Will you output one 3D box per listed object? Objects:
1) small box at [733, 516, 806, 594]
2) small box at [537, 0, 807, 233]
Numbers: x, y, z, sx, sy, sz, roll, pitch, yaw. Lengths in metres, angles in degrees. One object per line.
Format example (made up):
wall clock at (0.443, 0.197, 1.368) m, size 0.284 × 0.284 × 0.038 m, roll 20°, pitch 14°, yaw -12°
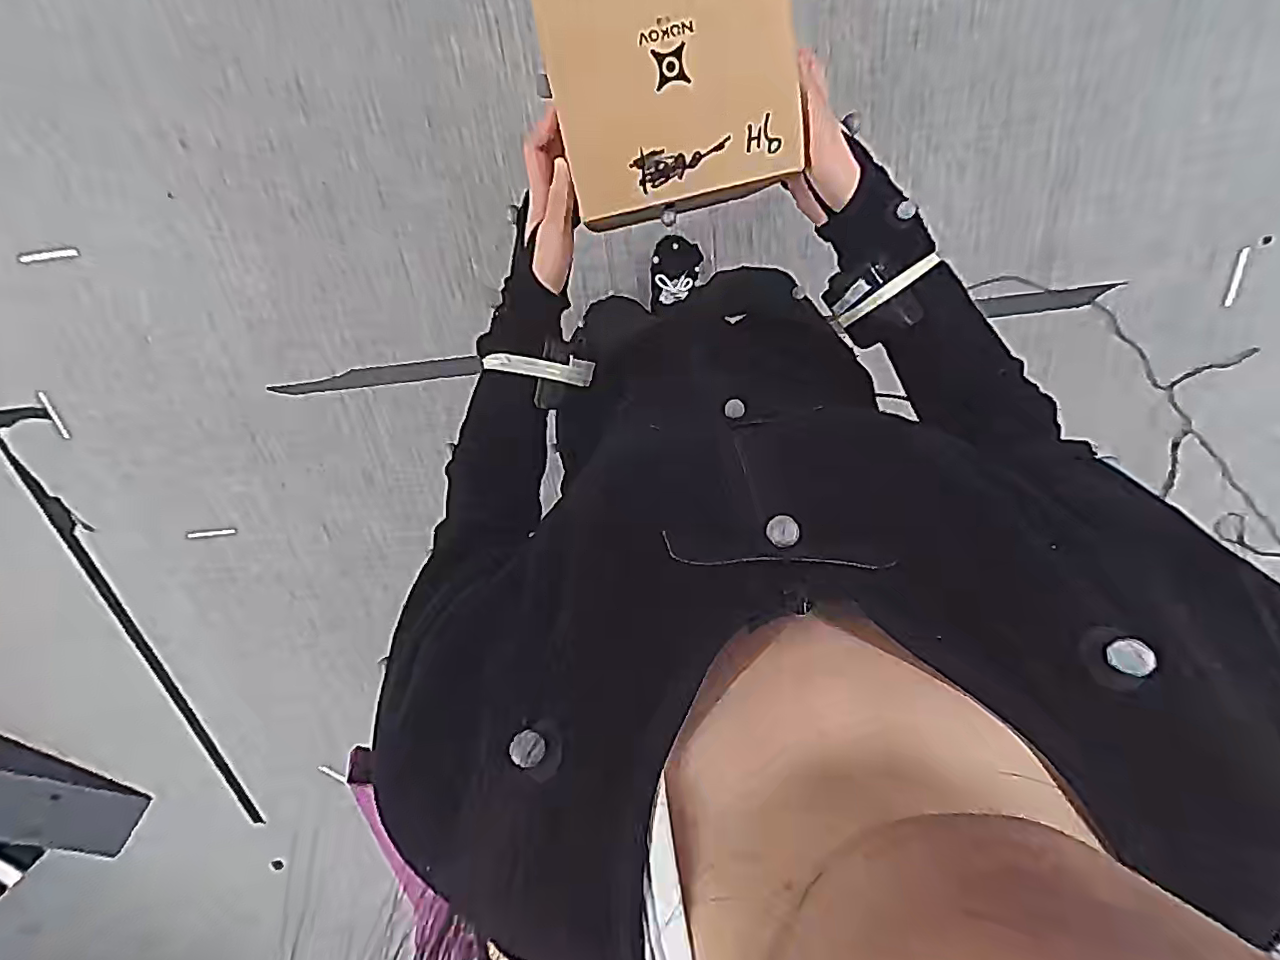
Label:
small box at (0.373, 0.215, 1.583) m, size 0.179 × 0.176 × 0.168 m, roll -4°, pitch 114°, yaw 3°
small box at (0.018, -0.309, 0.427) m, size 0.168 × 0.176 × 0.179 m, roll -12°, pitch 112°, yaw 2°
